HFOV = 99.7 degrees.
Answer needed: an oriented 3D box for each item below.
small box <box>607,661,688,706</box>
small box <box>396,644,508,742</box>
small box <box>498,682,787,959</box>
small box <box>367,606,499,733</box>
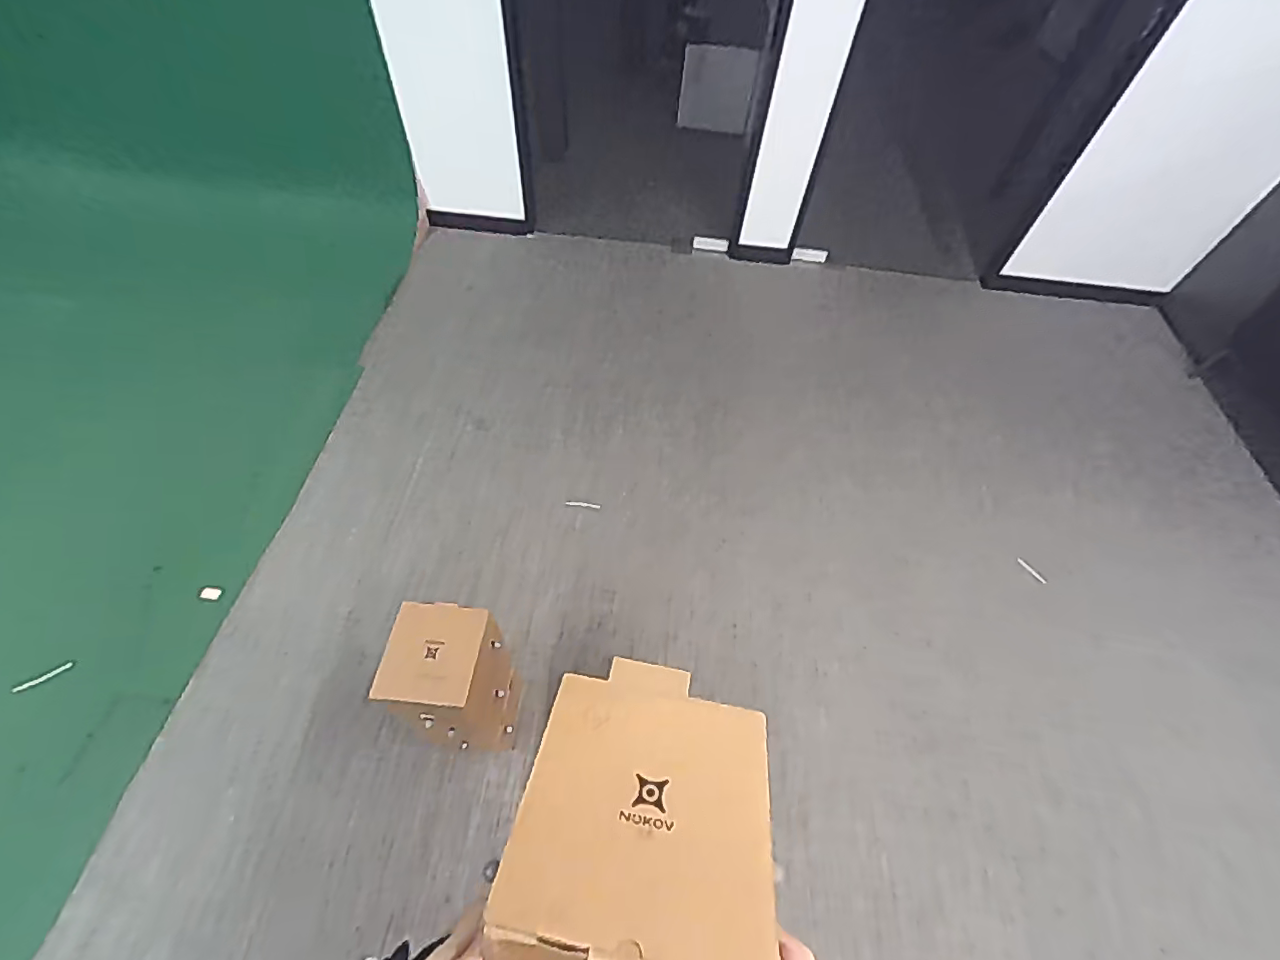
[{"bbox_3d":[-0.001,0.504,1.131,0.168,0.176,0.179,11,55,3],"label":"small box"},{"bbox_3d":[-0.382,0.443,1.139,0.168,0.176,0.179,5,55,-1],"label":"small box"},{"bbox_3d":[0.001,0.289,0.402,0.168,0.176,0.179,10,30,3],"label":"small box"},{"bbox_3d":[-0.368,0.354,1.003,0.168,0.176,0.179,5,56,0],"label":"small box"}]
